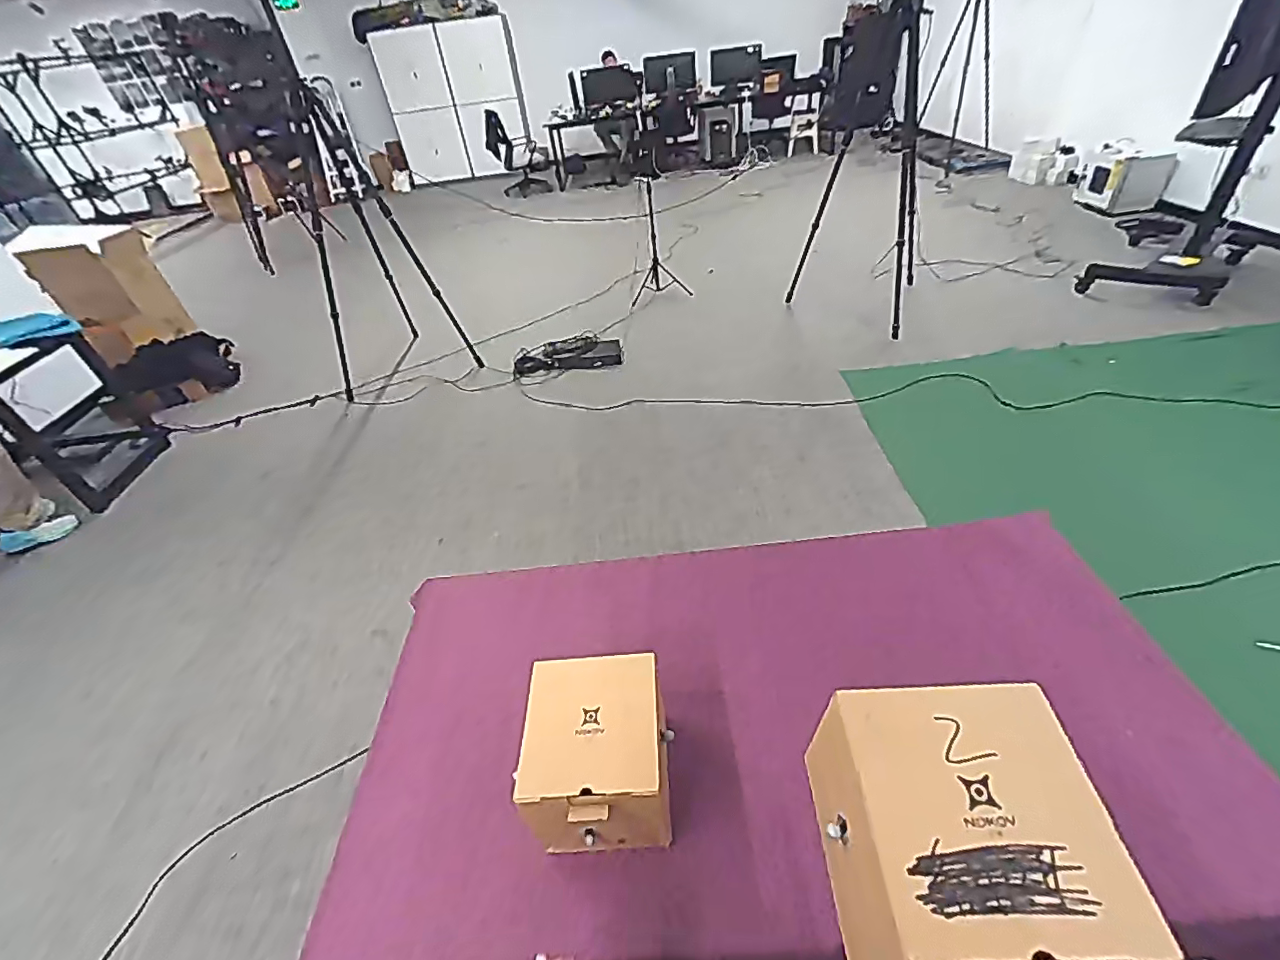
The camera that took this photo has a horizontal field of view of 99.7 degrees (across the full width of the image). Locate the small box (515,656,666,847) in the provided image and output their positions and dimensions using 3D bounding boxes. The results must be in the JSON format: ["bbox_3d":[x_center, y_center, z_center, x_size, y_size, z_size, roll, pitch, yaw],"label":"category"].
[{"bbox_3d":[-0.054,0.362,0.724,0.168,0.176,0.179,-5,40,3],"label":"small box"}]
